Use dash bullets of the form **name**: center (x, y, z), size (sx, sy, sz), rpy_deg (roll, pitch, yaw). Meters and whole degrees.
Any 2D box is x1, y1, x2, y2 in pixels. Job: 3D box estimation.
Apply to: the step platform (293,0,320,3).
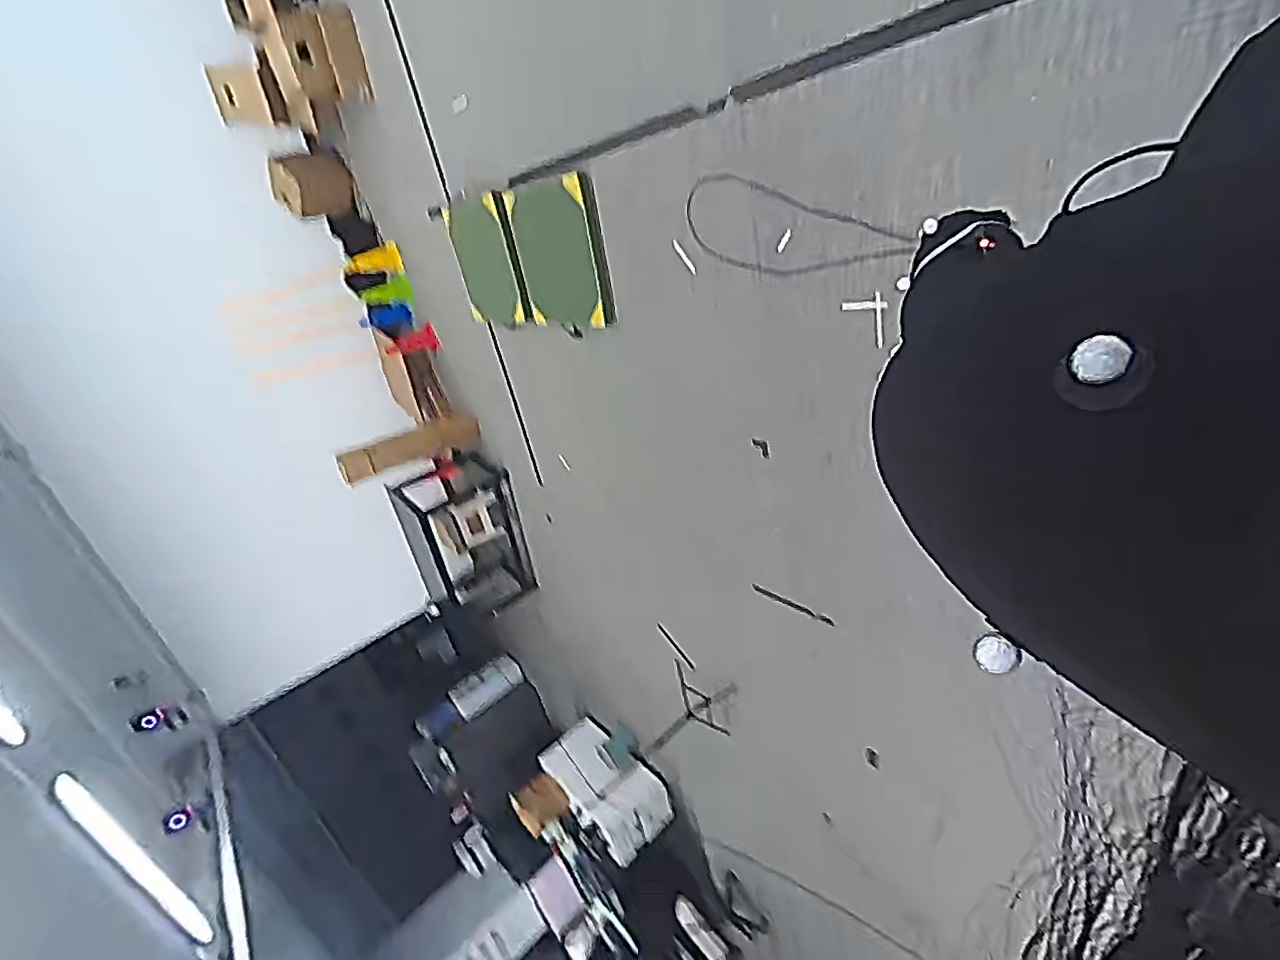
- **step platform**: center (-2.040, -3.068, 3.001), size (0.286, 0.204, 0.684), rpy_deg (-27, 92, 57)
